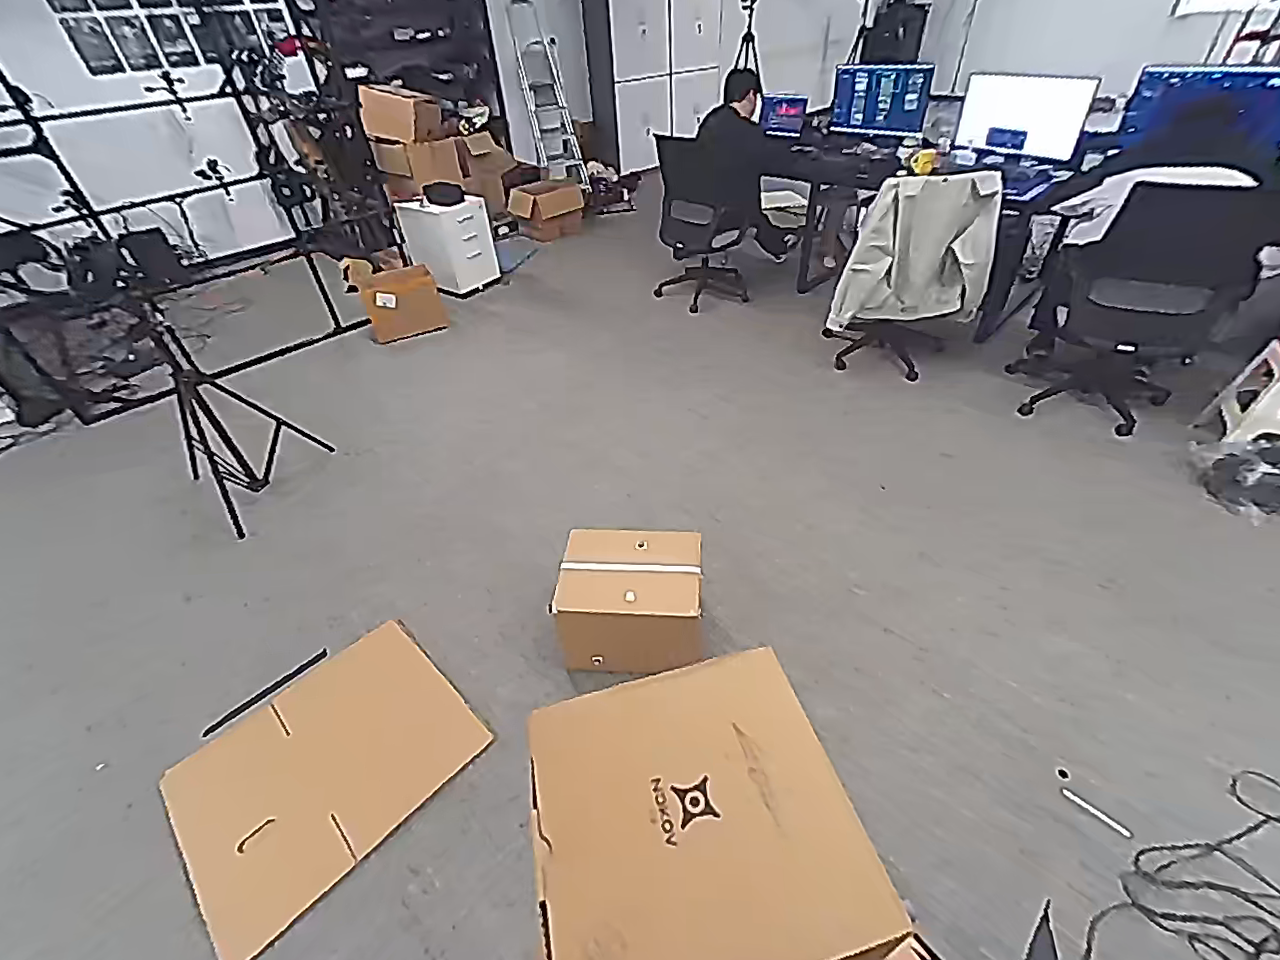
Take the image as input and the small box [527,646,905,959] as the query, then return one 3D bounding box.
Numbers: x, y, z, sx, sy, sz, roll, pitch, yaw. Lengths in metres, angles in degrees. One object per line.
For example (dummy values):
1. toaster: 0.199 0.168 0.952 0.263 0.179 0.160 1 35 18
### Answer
1. small box: 0.034 0.246 0.358 0.179 0.176 0.168 -13 41 -8
